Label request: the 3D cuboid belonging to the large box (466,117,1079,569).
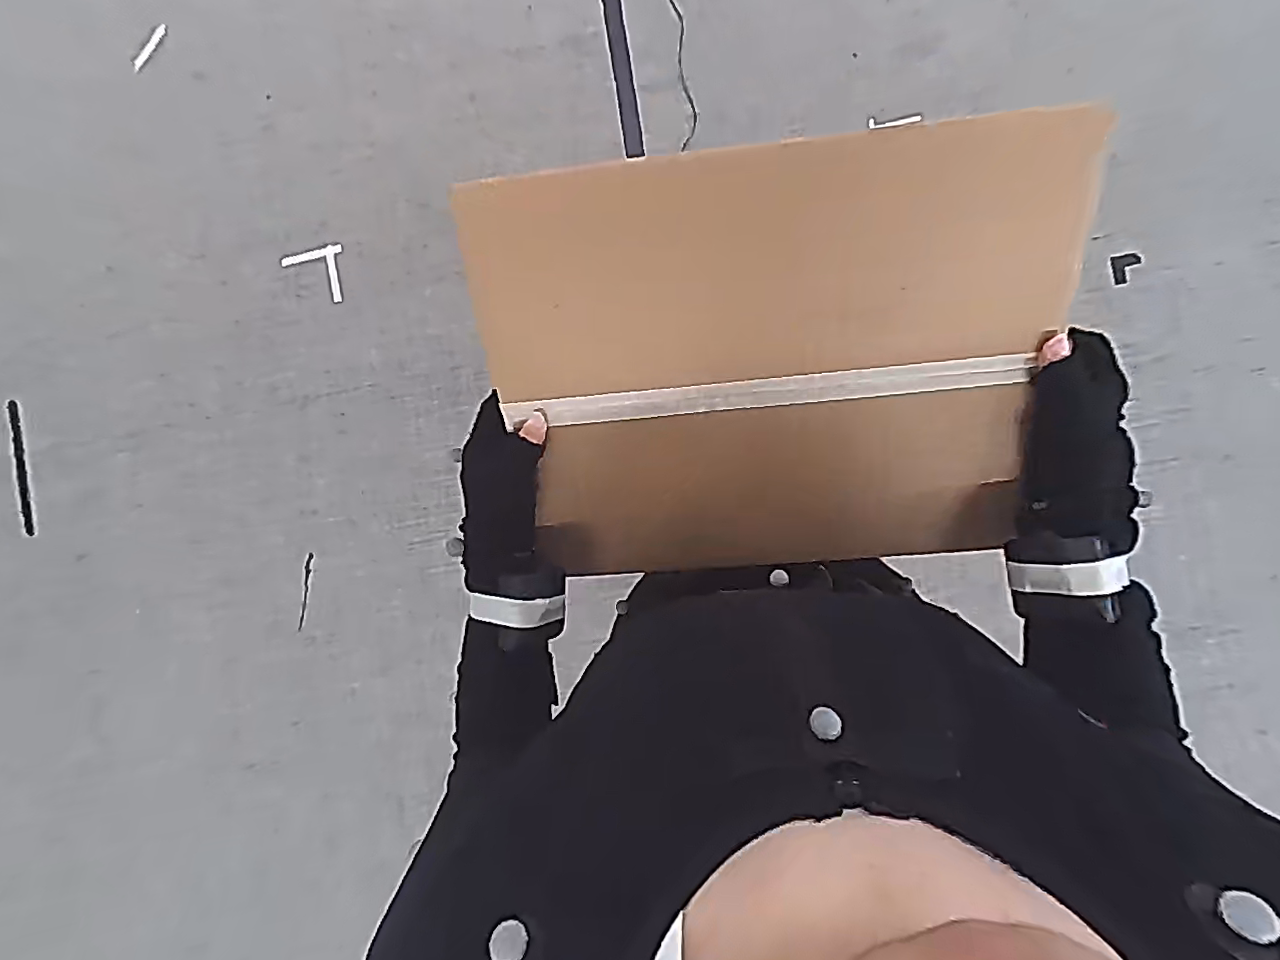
[{"bbox_3d":[0.101,-0.139,0.548,0.408,0.320,0.320,-5,116,5],"label":"large box"}]
